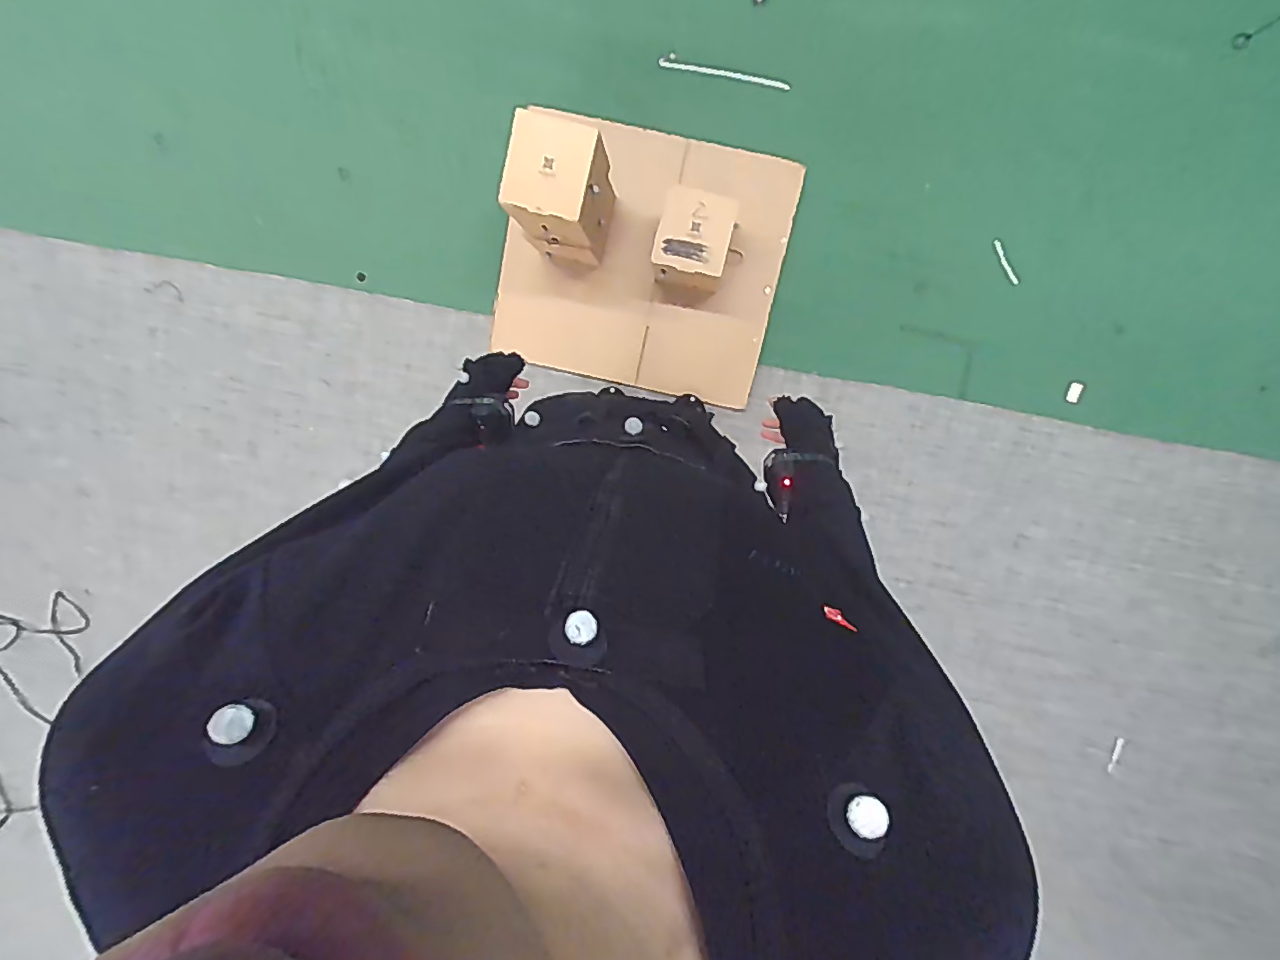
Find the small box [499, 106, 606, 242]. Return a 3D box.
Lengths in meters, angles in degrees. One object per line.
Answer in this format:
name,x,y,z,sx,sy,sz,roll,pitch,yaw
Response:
small box,-0.171,-0.617,1.111,0.168,0.176,0.179,15,100,1

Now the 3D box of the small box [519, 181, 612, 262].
small box,-0.168,-0.633,1.273,0.168,0.176,0.179,14,99,2
